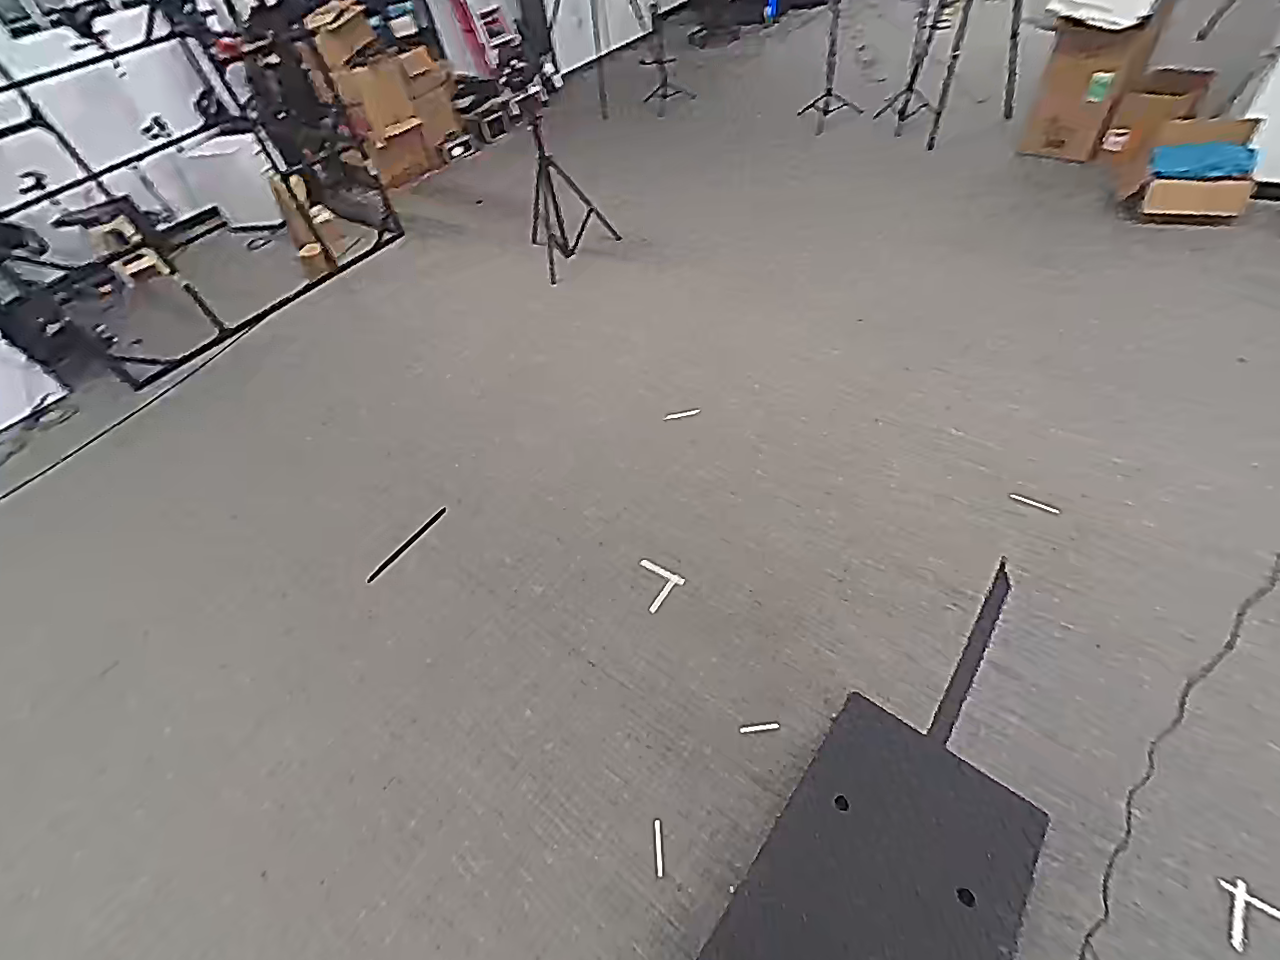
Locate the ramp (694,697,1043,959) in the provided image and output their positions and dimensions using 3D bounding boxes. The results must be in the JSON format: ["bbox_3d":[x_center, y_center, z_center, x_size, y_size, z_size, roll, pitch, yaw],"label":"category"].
[{"bbox_3d":[0.452,0.960,1.129,0.509,0.206,0.991,26,58,30],"label":"ramp"}]
